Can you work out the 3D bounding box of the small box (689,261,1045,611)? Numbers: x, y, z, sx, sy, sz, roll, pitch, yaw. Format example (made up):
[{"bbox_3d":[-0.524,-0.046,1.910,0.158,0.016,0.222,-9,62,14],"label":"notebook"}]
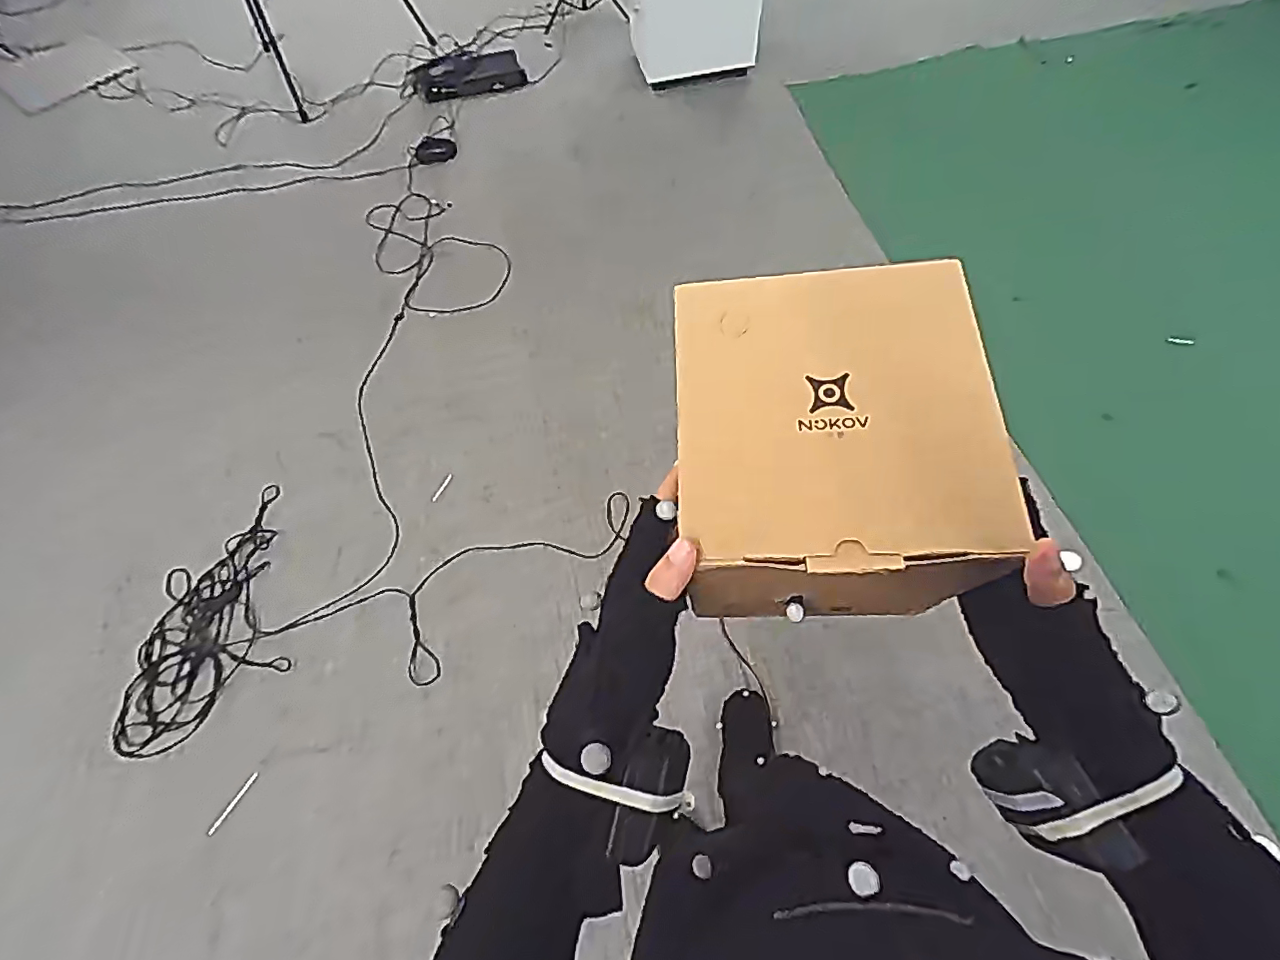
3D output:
[{"bbox_3d":[0.117,-0.014,0.363,0.168,0.176,0.179,-3,68,7],"label":"small box"}]
